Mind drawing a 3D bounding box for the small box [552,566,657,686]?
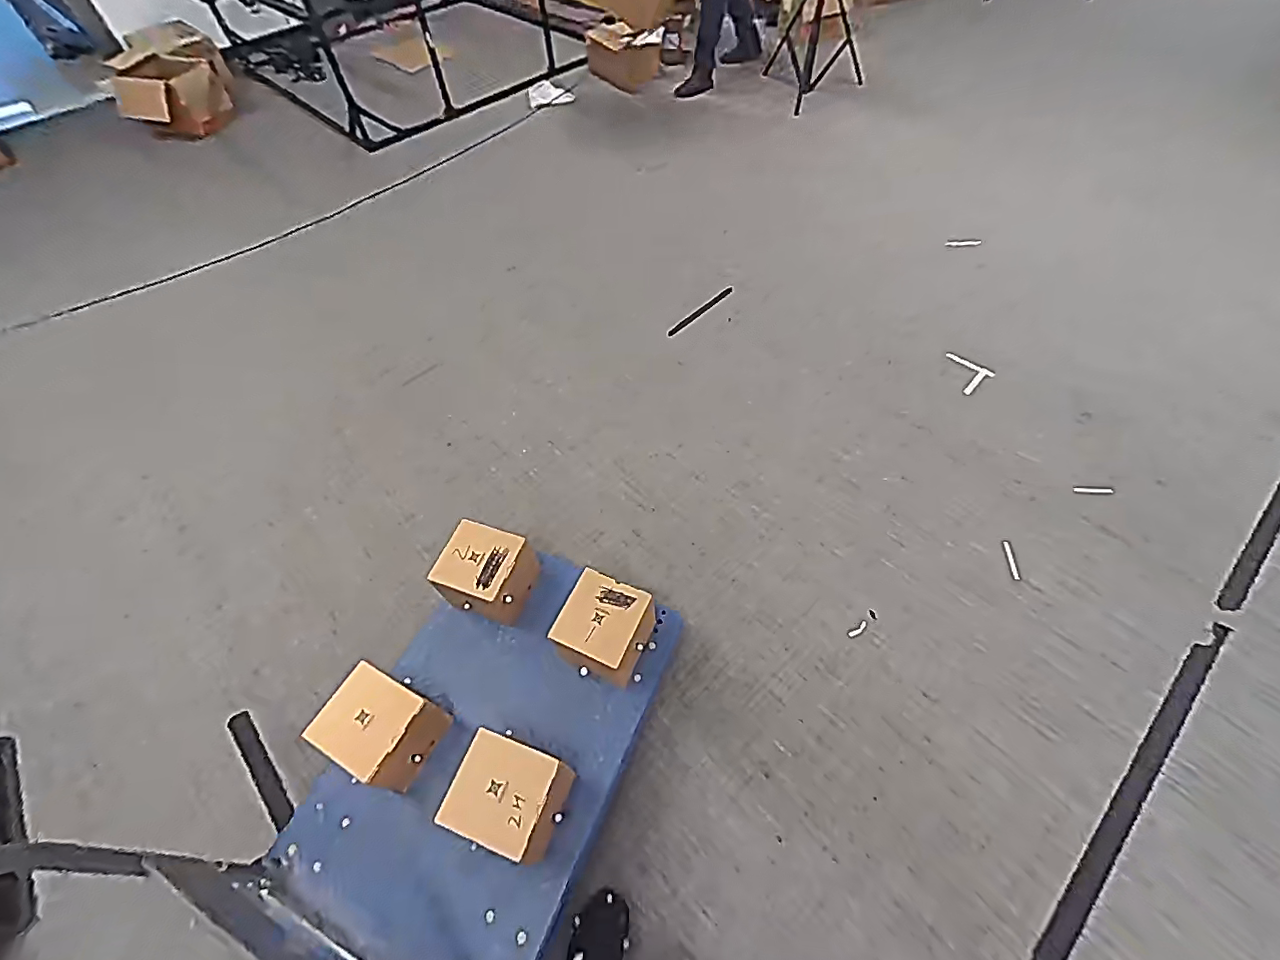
[{"bbox_3d":[-0.071,0.327,1.203,0.168,0.176,0.179,20,60,17],"label":"small box"}]

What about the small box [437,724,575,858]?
[{"bbox_3d":[-0.244,0.594,1.028,0.179,0.176,0.168,16,58,15],"label":"small box"}]

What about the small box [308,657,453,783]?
[{"bbox_3d":[-0.524,0.500,1.116,0.179,0.176,0.168,23,60,17],"label":"small box"}]
